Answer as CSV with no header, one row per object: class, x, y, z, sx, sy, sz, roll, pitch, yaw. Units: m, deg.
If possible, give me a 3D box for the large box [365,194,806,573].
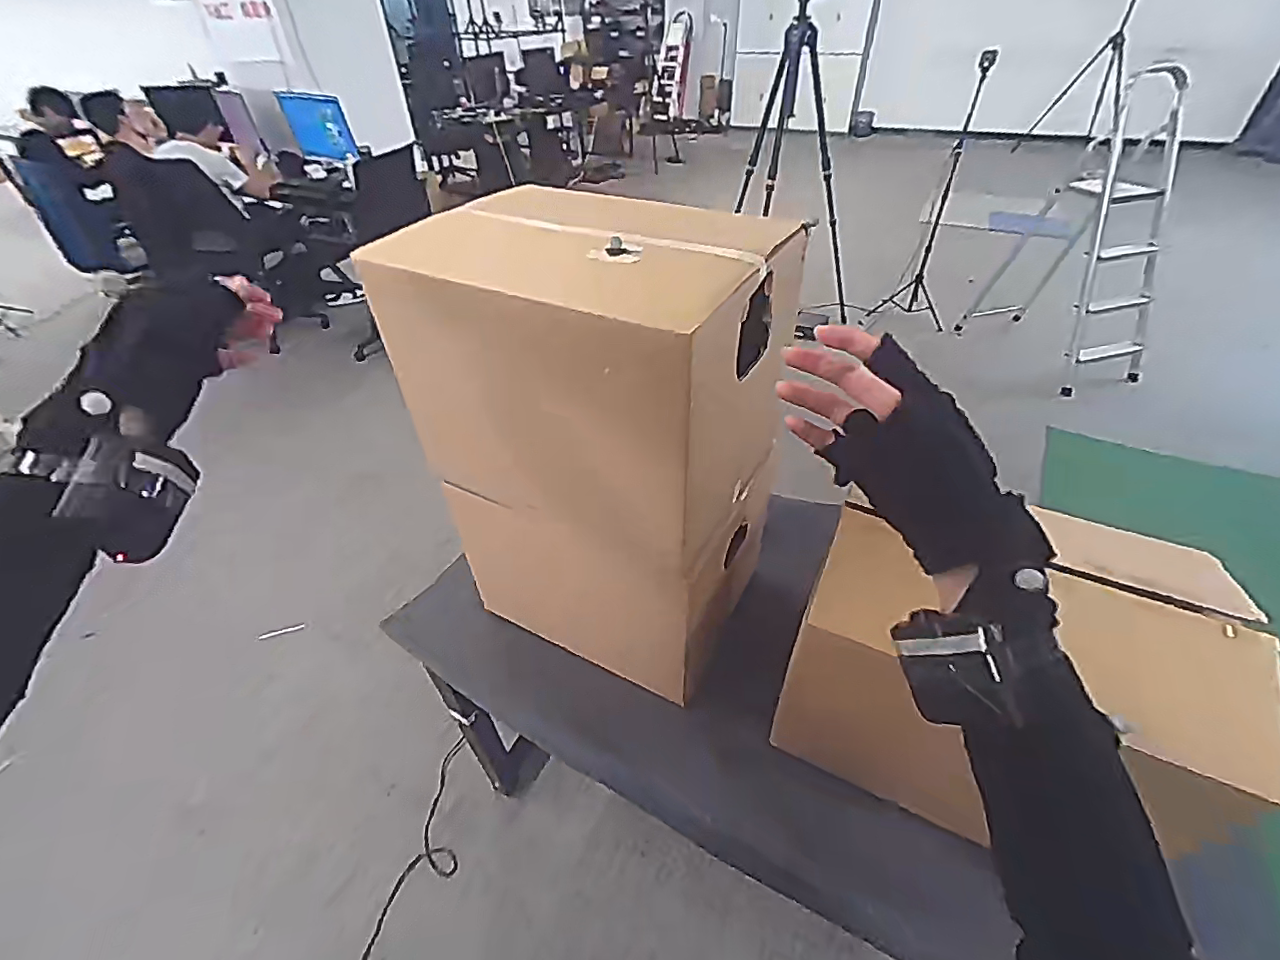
large box,-0.052,-0.145,0.702,0.408,0.320,0.320,21,47,21
